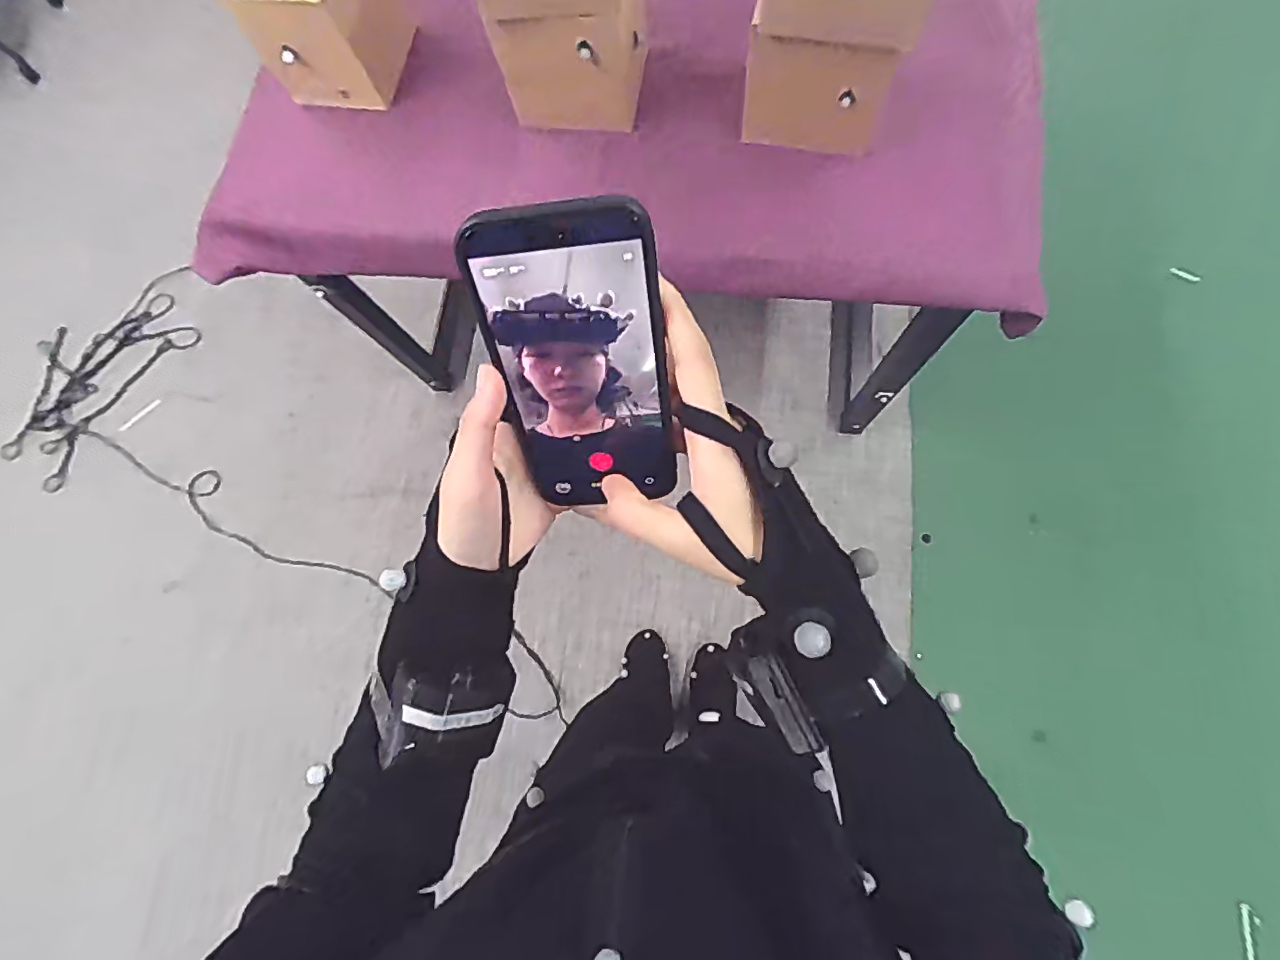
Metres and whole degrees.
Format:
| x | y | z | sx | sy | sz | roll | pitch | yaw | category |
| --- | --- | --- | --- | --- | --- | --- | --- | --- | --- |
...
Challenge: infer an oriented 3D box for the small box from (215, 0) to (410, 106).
| x | y | z | sx | sy | sz | roll | pitch | yaw | category |
| --- | --- | --- | --- | --- | --- | --- | --- | --- | --- |
| -0.475 | -0.703 | 0.813 | 0.168 | 0.176 | 0.179 | 9 | 78 | 8 | small box |

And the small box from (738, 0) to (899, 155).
| x | y | z | sx | sy | sz | roll | pitch | yaw | category |
| --- | --- | --- | --- | --- | --- | --- | --- | --- | --- |
| 0.236 | -0.566 | 0.712 | 0.179 | 0.176 | 0.168 | 14 | 78 | 9 | small box |

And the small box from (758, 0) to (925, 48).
| x | y | z | sx | sy | sz | roll | pitch | yaw | category |
| --- | --- | --- | --- | --- | --- | --- | --- | --- | --- |
| 0.227 | -0.588 | 0.549 | 0.179 | 0.176 | 0.168 | 14 | 78 | 8 | small box |

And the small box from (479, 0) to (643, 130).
| x | y | z | sx | sy | sz | roll | pitch | yaw | category |
| --- | --- | --- | --- | --- | --- | --- | --- | --- | --- |
| -0.096 | -0.628 | 0.757 | 0.179 | 0.176 | 0.168 | 8 | 78 | 7 | small box |
